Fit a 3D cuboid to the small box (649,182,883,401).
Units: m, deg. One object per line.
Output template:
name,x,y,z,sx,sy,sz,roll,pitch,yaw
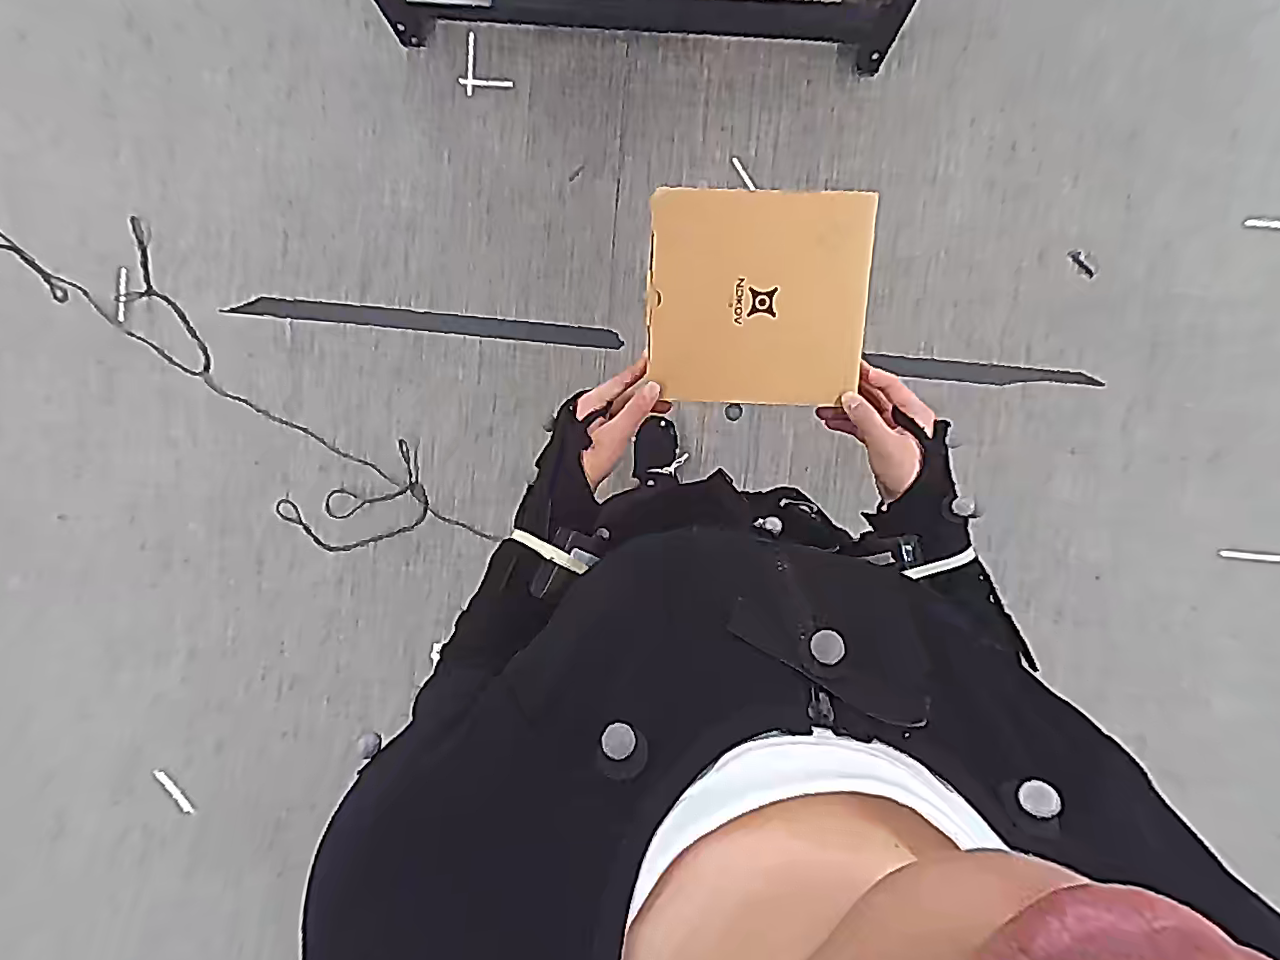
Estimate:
small box,0.102,-0.164,0.506,0.179,0.176,0.168,2,101,5
